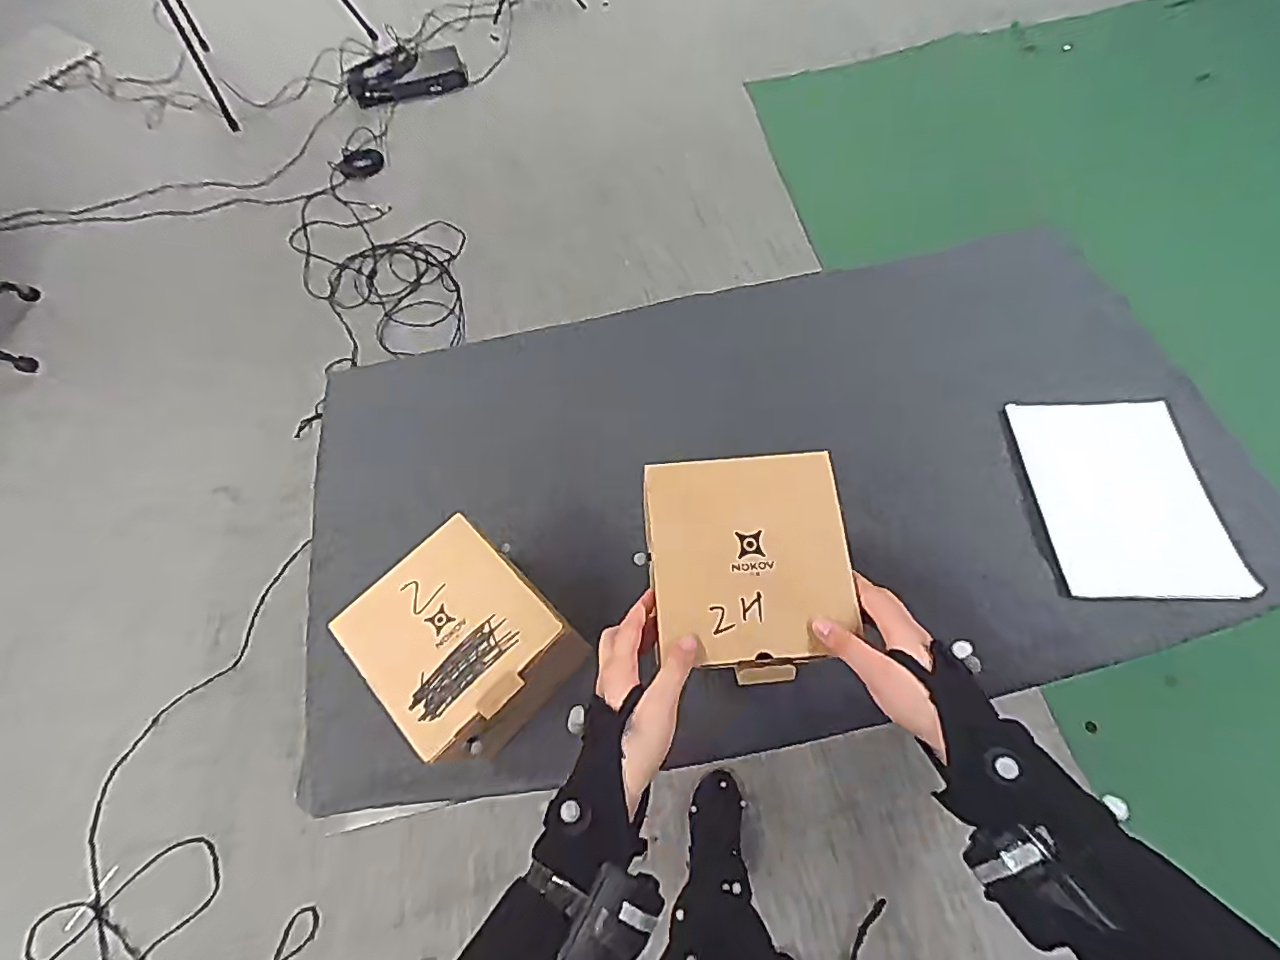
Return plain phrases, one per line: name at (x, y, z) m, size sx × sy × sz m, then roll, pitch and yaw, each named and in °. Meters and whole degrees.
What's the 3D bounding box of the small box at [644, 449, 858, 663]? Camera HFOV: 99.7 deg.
small box at (0.090, 0.084, 0.535) m, size 0.168 × 0.176 × 0.179 m, roll -5°, pitch 73°, yaw 1°
